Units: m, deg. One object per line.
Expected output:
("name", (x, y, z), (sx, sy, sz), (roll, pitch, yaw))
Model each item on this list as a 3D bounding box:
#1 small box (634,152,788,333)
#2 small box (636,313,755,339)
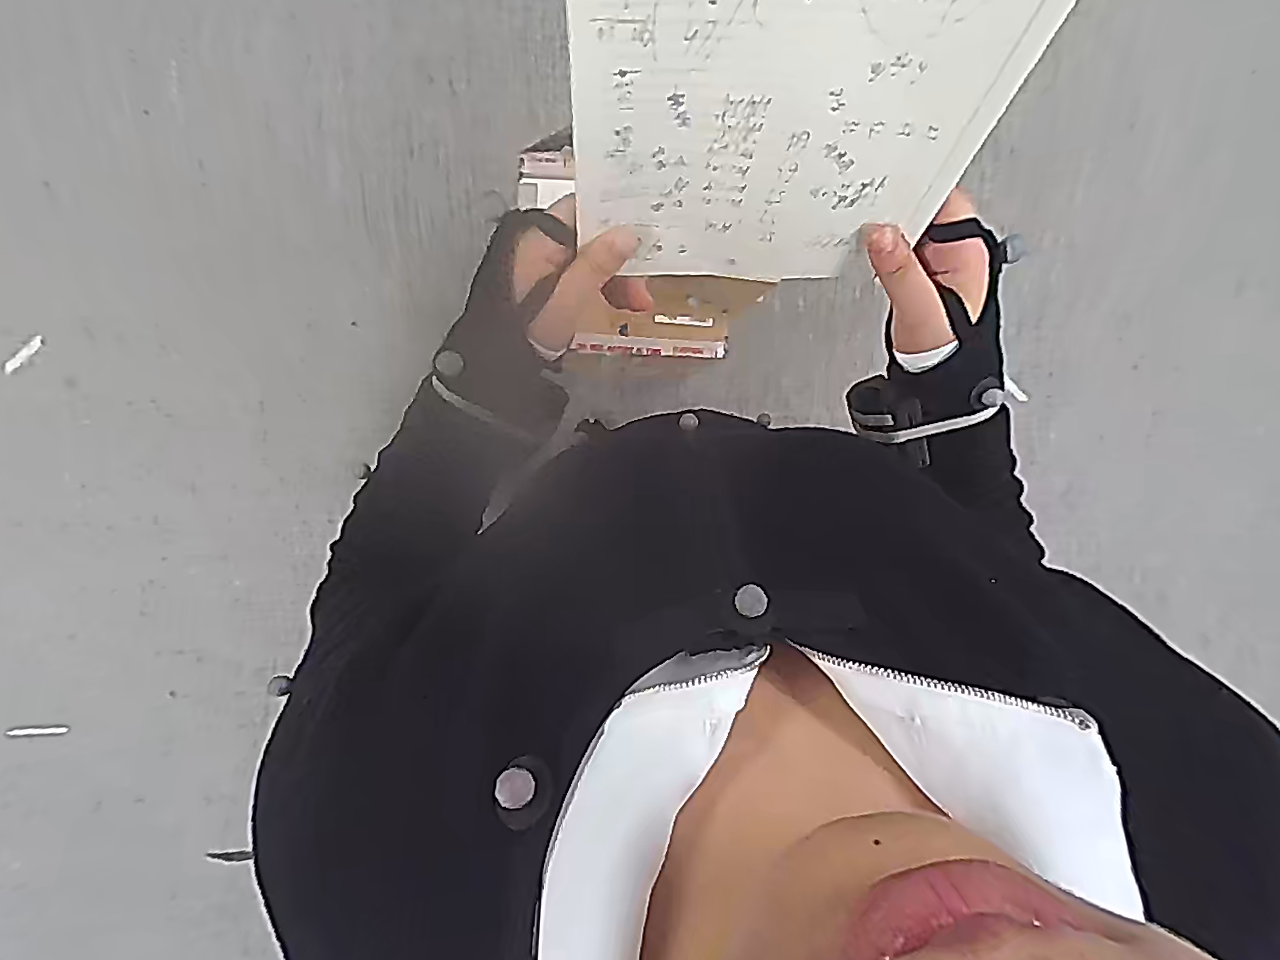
("small box", (0.085, -0.311, 0.743), (0.168, 0.176, 0.179), (5, 98, -6))
("small box", (0.090, -0.333, 0.908), (0.179, 0.176, 0.168), (1, 97, -5))
